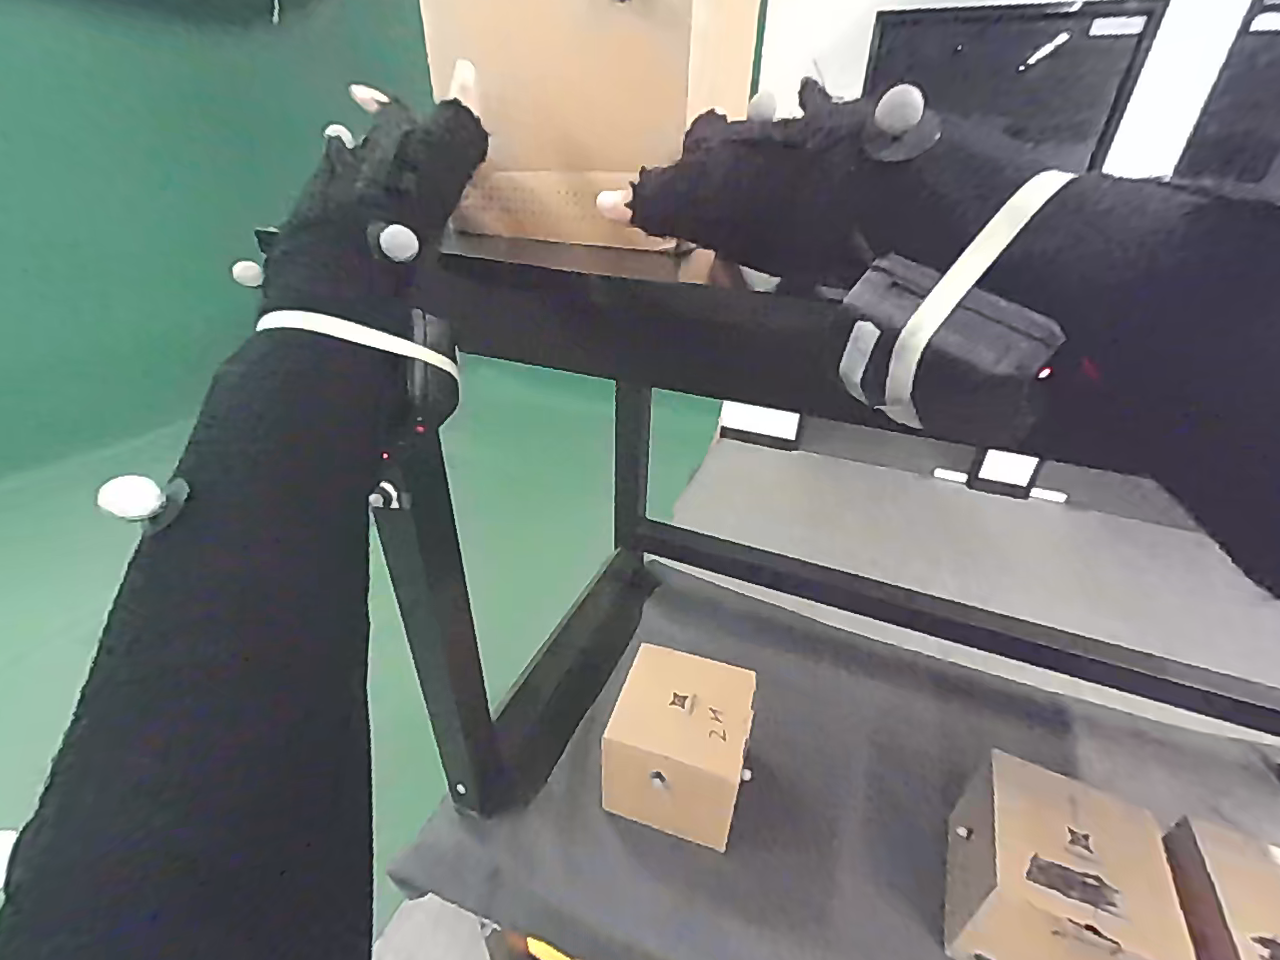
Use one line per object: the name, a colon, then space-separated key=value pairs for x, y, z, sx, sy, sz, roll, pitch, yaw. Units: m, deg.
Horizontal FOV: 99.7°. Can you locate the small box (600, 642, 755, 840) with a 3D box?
small box: x=0.054 y=0.366 z=0.764 sx=0.179 sy=0.176 sz=0.168 roll=12 pitch=33 yaw=15
